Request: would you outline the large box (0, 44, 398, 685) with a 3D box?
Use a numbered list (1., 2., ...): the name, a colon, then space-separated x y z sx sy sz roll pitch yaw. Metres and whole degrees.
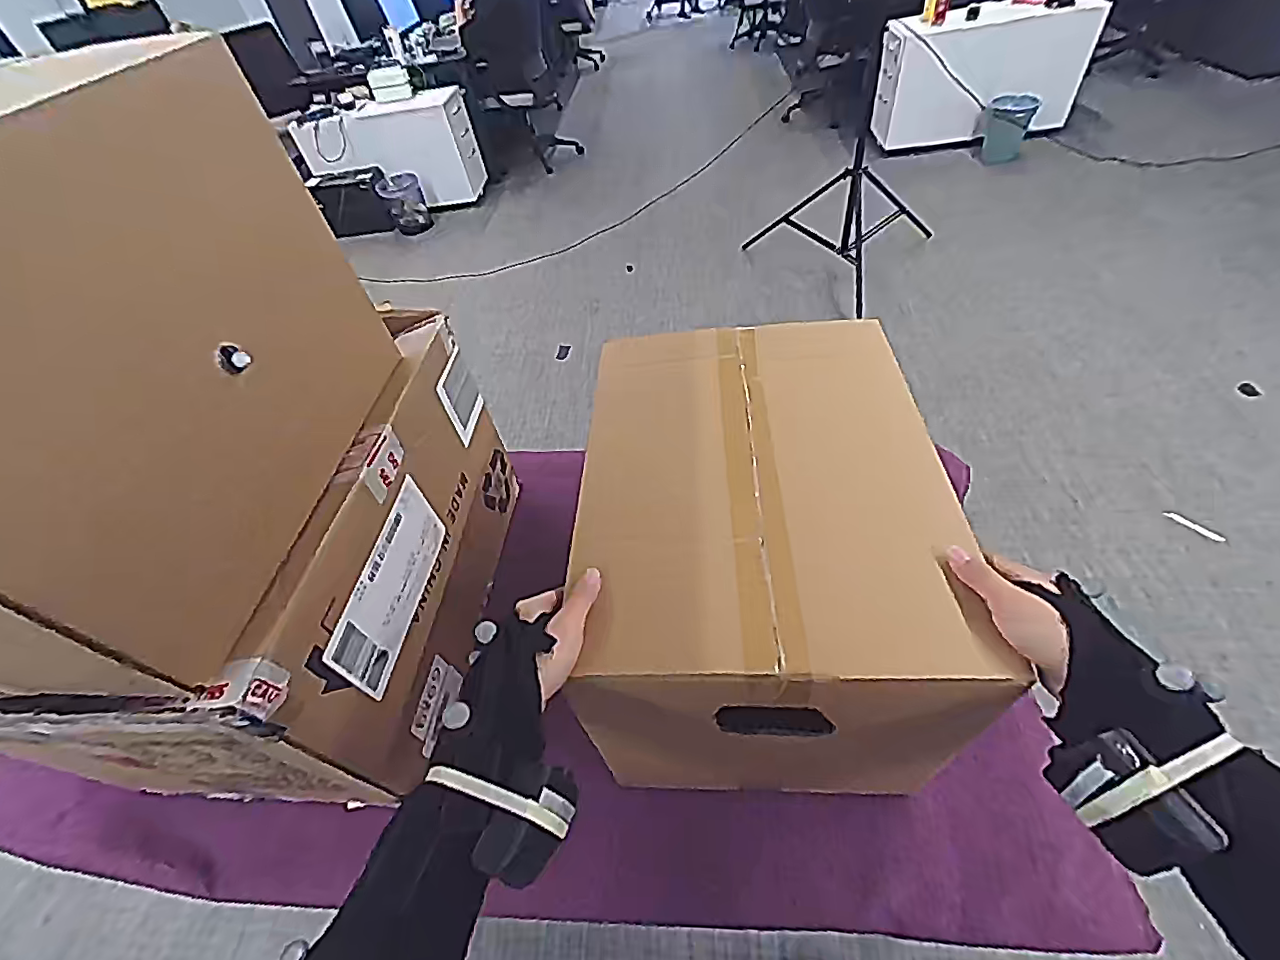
1. large box: -0.459 -0.090 0.432 0.320 0.320 0.408 -4 49 8
